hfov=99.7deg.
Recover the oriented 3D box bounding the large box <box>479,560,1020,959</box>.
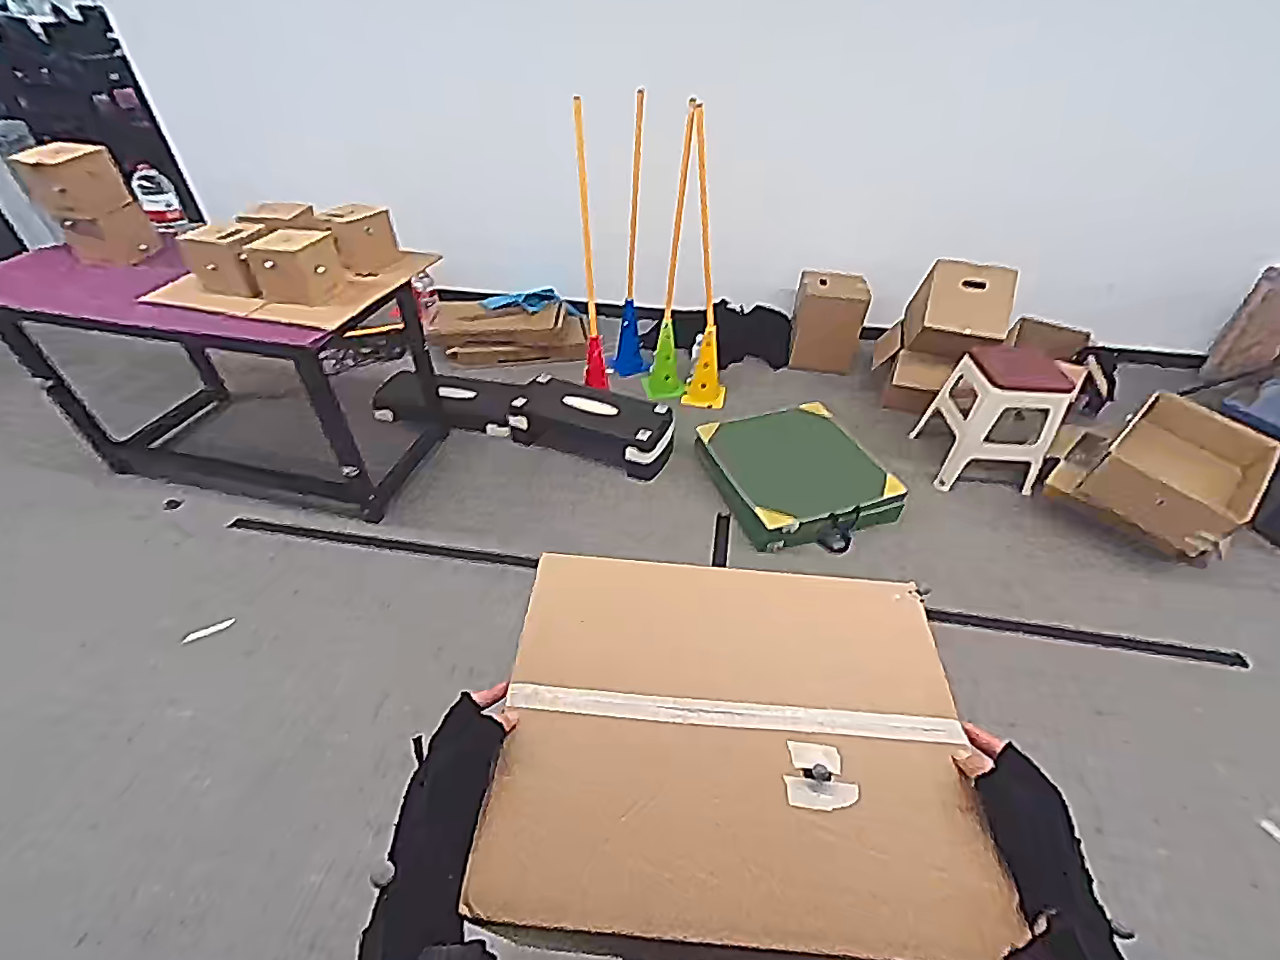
[{"bbox_3d":[0.079,0.315,0.598,0.408,0.320,0.320,5,47,1],"label":"large box"}]
